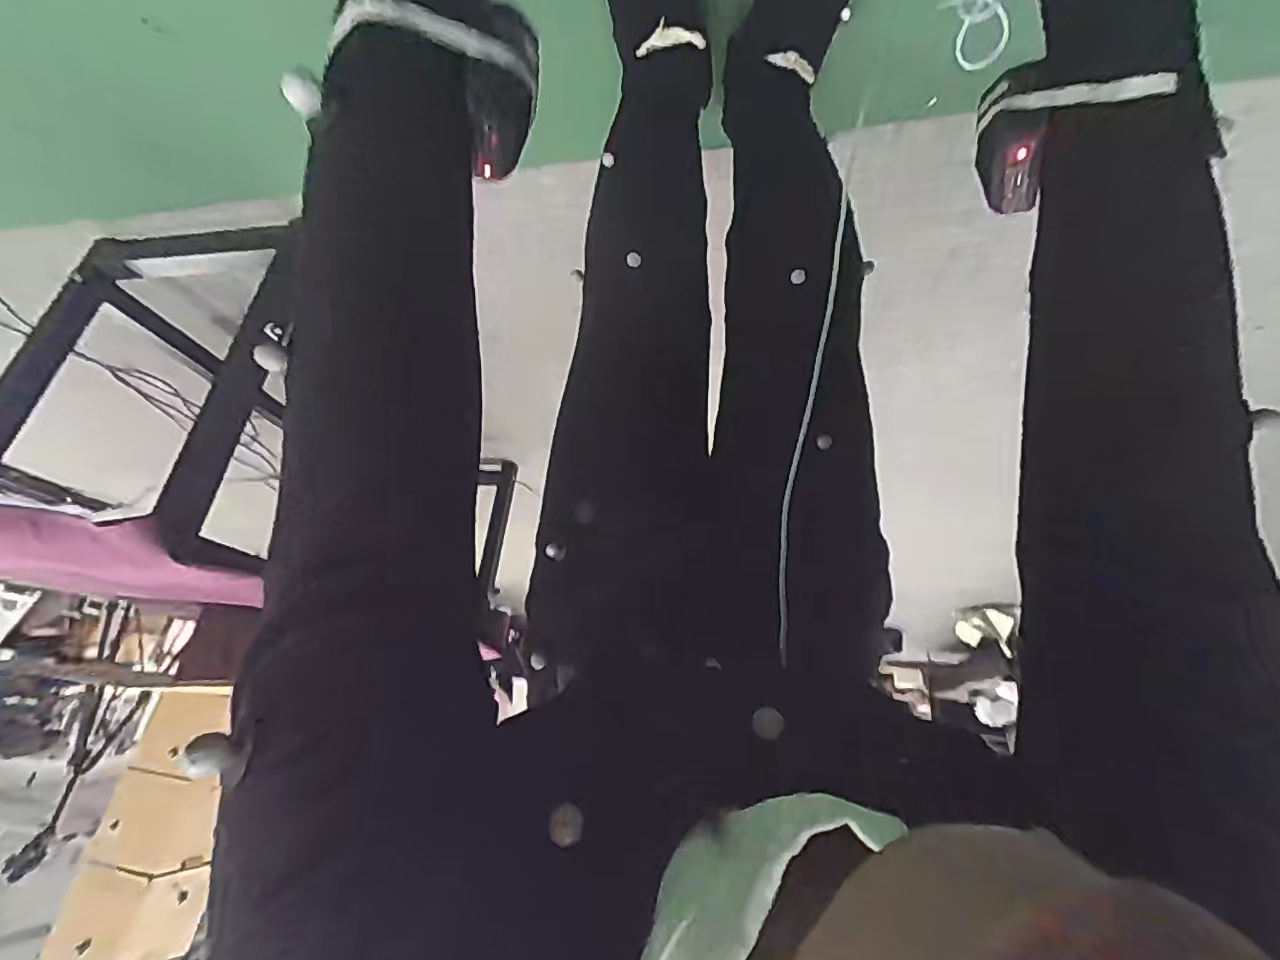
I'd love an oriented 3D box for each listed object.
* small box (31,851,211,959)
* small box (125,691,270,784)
[{"bbox_3d":[-1.027,0.869,1.088,0.179,0.176,0.168,3,156,12],"label":"small box"},{"bbox_3d":[-0.978,0.571,1.218,0.179,0.176,0.168,1,156,12],"label":"small box"}]
